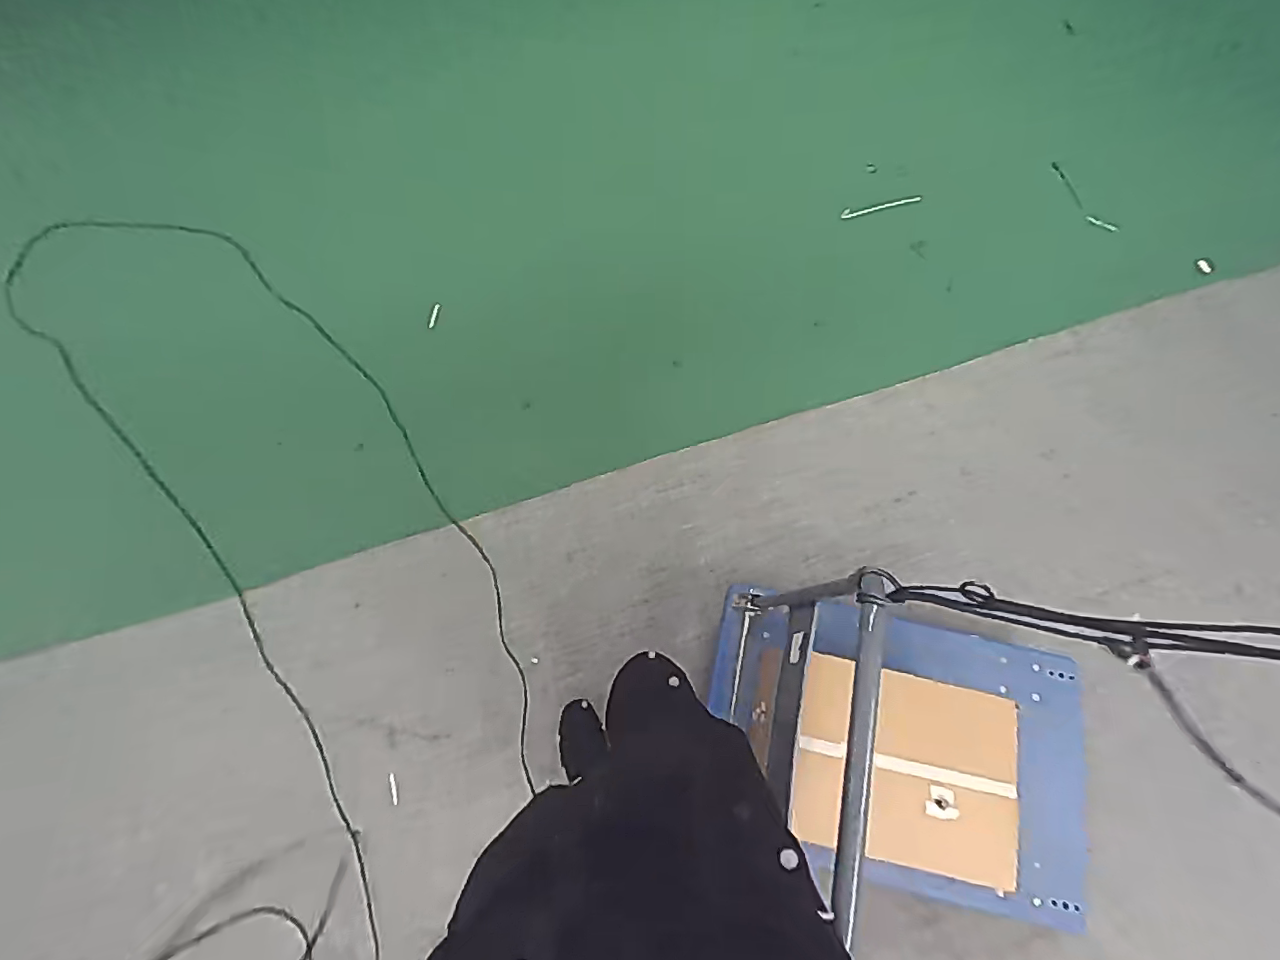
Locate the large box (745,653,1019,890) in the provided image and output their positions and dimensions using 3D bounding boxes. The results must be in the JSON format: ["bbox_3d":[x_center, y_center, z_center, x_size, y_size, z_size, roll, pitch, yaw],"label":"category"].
[{"bbox_3d":[0.460,0.549,1.093,0.408,0.320,0.320,14,73,1],"label":"large box"}]
